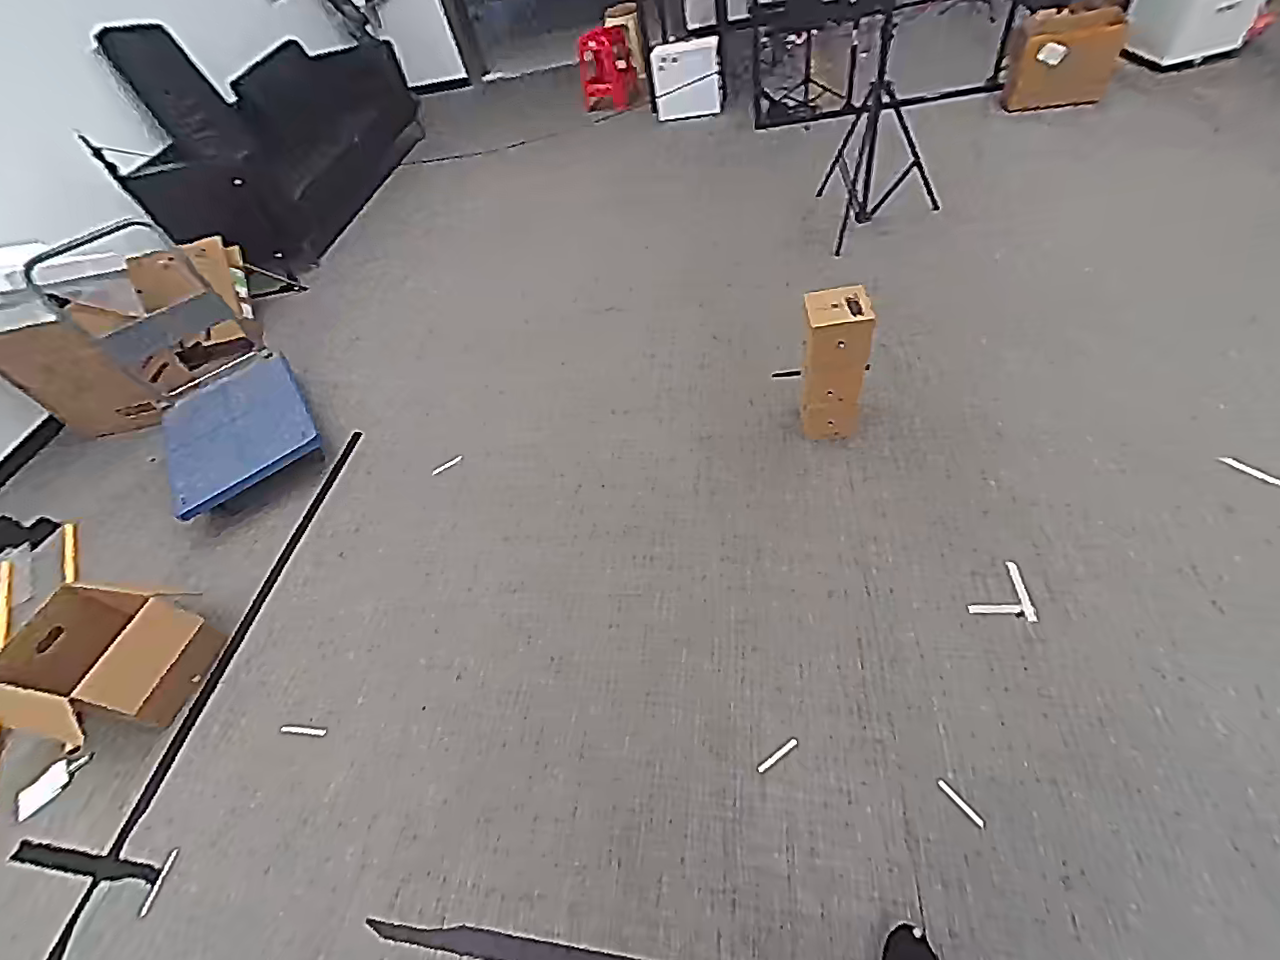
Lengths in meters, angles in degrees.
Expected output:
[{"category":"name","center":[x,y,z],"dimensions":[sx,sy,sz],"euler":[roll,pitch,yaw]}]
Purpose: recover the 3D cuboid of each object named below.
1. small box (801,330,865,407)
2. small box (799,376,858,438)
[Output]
[{"category":"small box","center":[0.621,-0.359,1.760],"dimensions":[0.168,0.176,0.179],"euler":[-4,52,11]},{"category":"small box","center":[0.652,-0.259,1.884],"dimensions":[0.168,0.176,0.179],"euler":[-5,51,10]}]
